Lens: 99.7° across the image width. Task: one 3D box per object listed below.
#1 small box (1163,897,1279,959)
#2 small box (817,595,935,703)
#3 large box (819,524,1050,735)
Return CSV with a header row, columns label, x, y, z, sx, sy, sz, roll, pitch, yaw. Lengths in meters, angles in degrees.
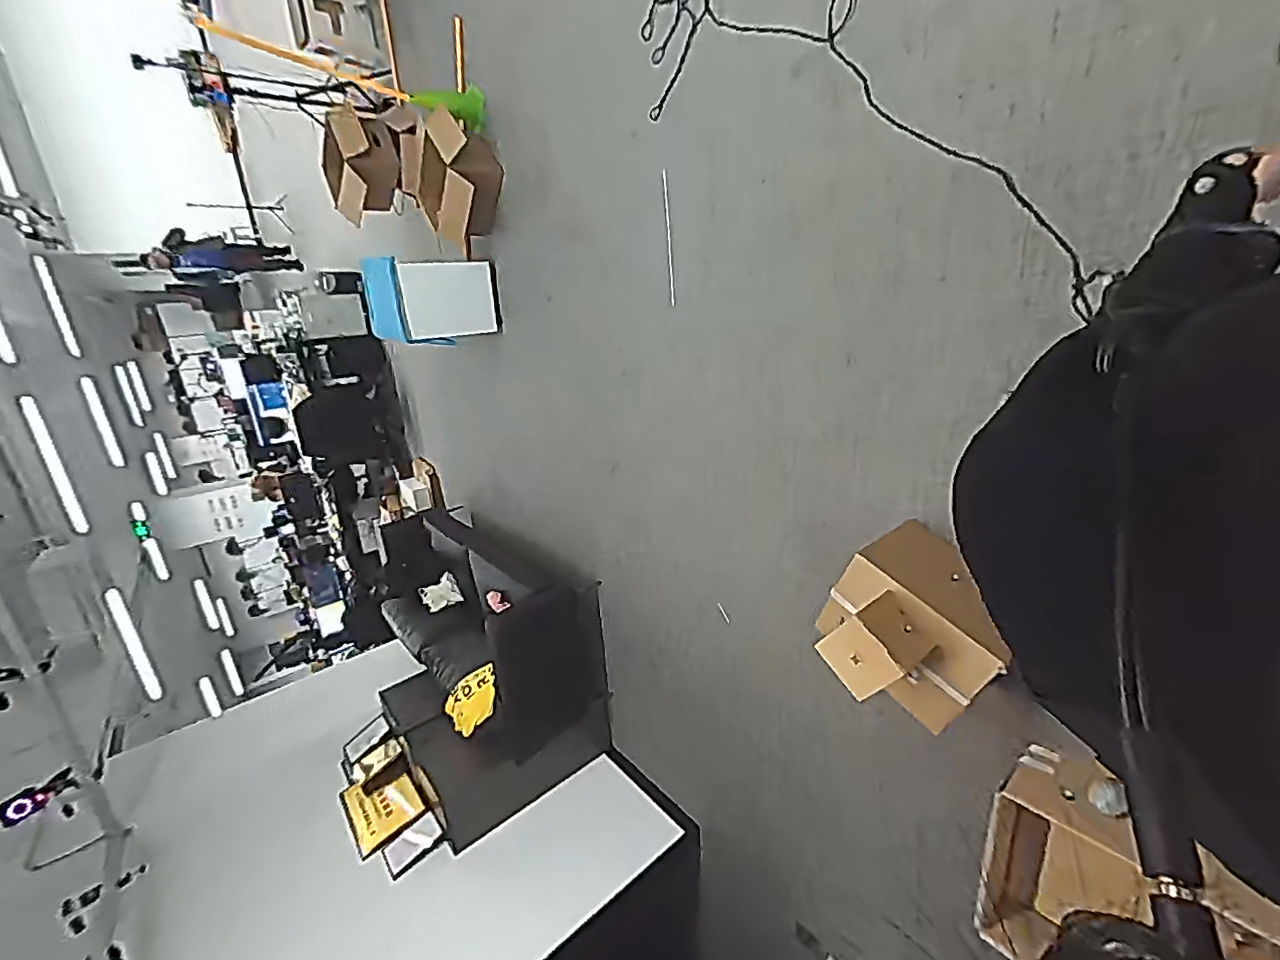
label,x,y,z,sx,sy,sz,roll,pitch,yaw
small box,0.956,0.805,0.833,0.168,0.176,0.179,-21,87,55
small box,0.587,0.417,1.344,0.168,0.176,0.179,53,139,25
large box,0.788,0.385,1.484,0.408,0.320,0.320,41,135,34
